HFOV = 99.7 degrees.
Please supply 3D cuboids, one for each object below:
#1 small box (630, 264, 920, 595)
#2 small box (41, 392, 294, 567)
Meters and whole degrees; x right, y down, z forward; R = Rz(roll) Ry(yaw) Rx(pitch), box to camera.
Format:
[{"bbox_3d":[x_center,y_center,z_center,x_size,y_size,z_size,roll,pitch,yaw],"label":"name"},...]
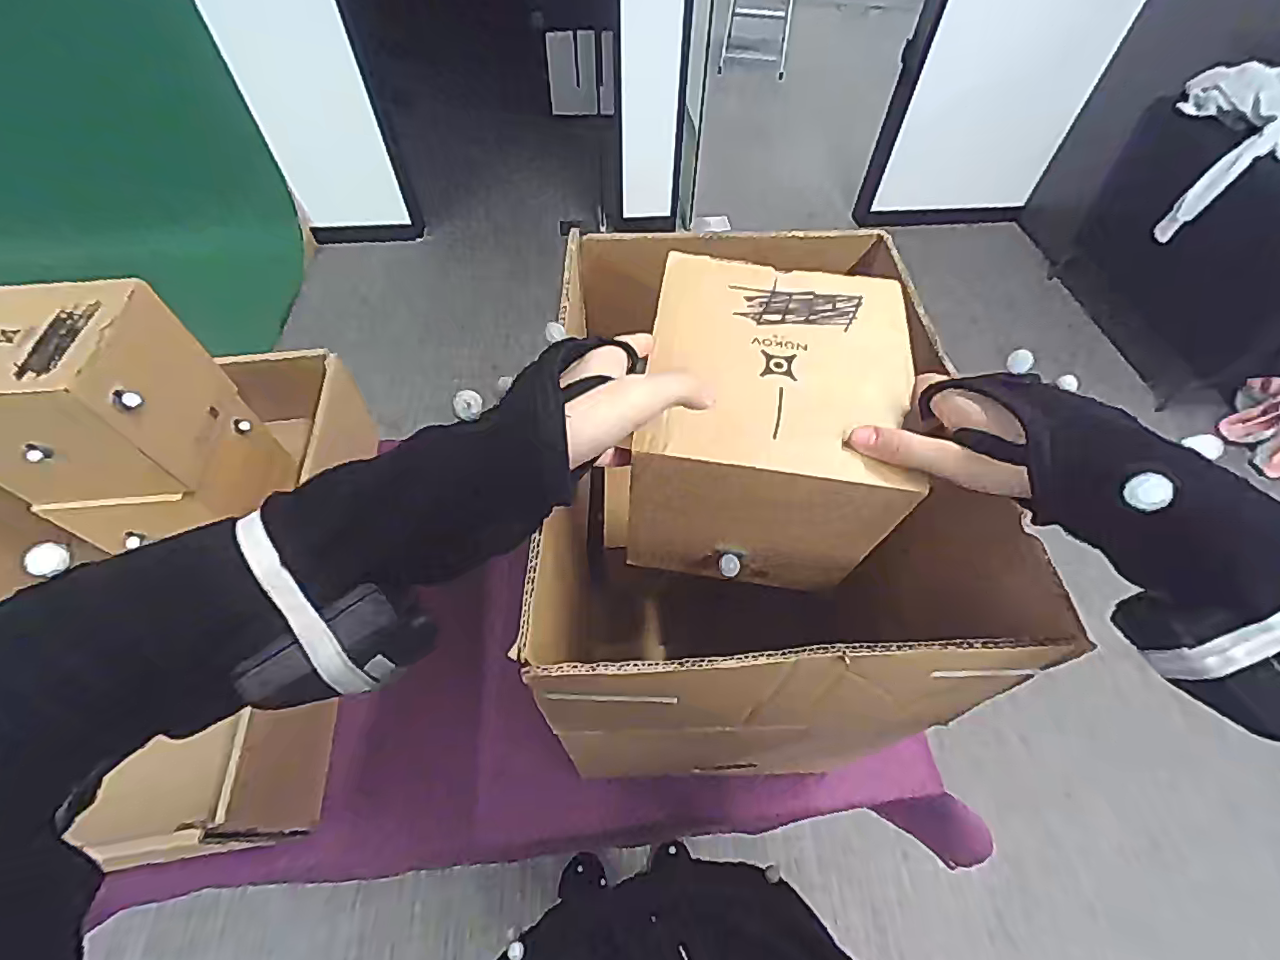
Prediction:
[{"bbox_3d":[0.084,-0.031,0.411,0.168,0.176,0.179,7,61,4],"label":"small box"},{"bbox_3d":[-0.606,0.007,0.728,0.168,0.176,0.179,-5,56,-3],"label":"small box"}]
